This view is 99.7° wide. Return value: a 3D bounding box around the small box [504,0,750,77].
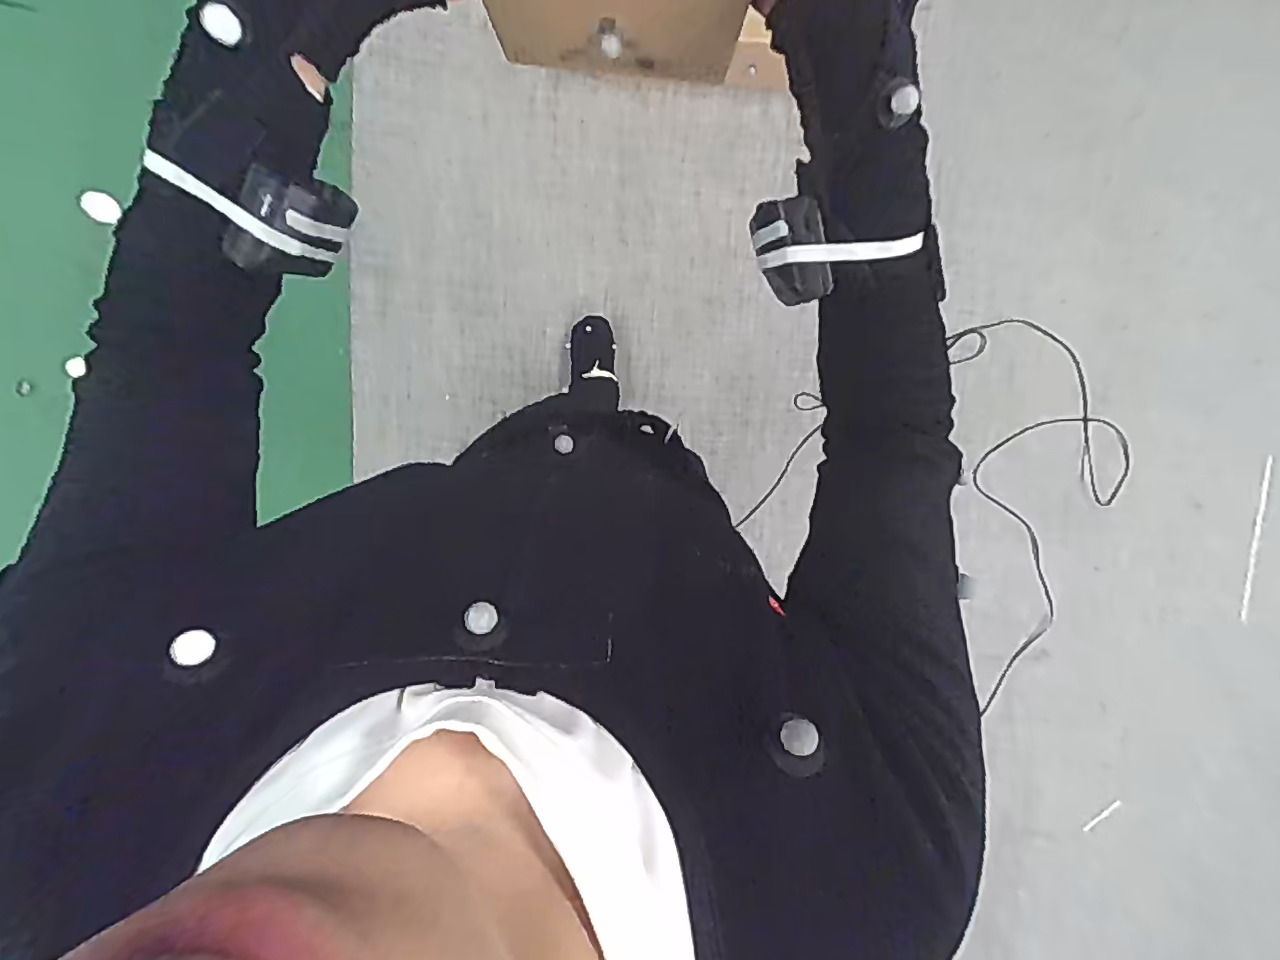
[{"bbox_3d":[-0.005,-0.376,0.303,0.168,0.176,0.179,6,102,-2],"label":"small box"}]
